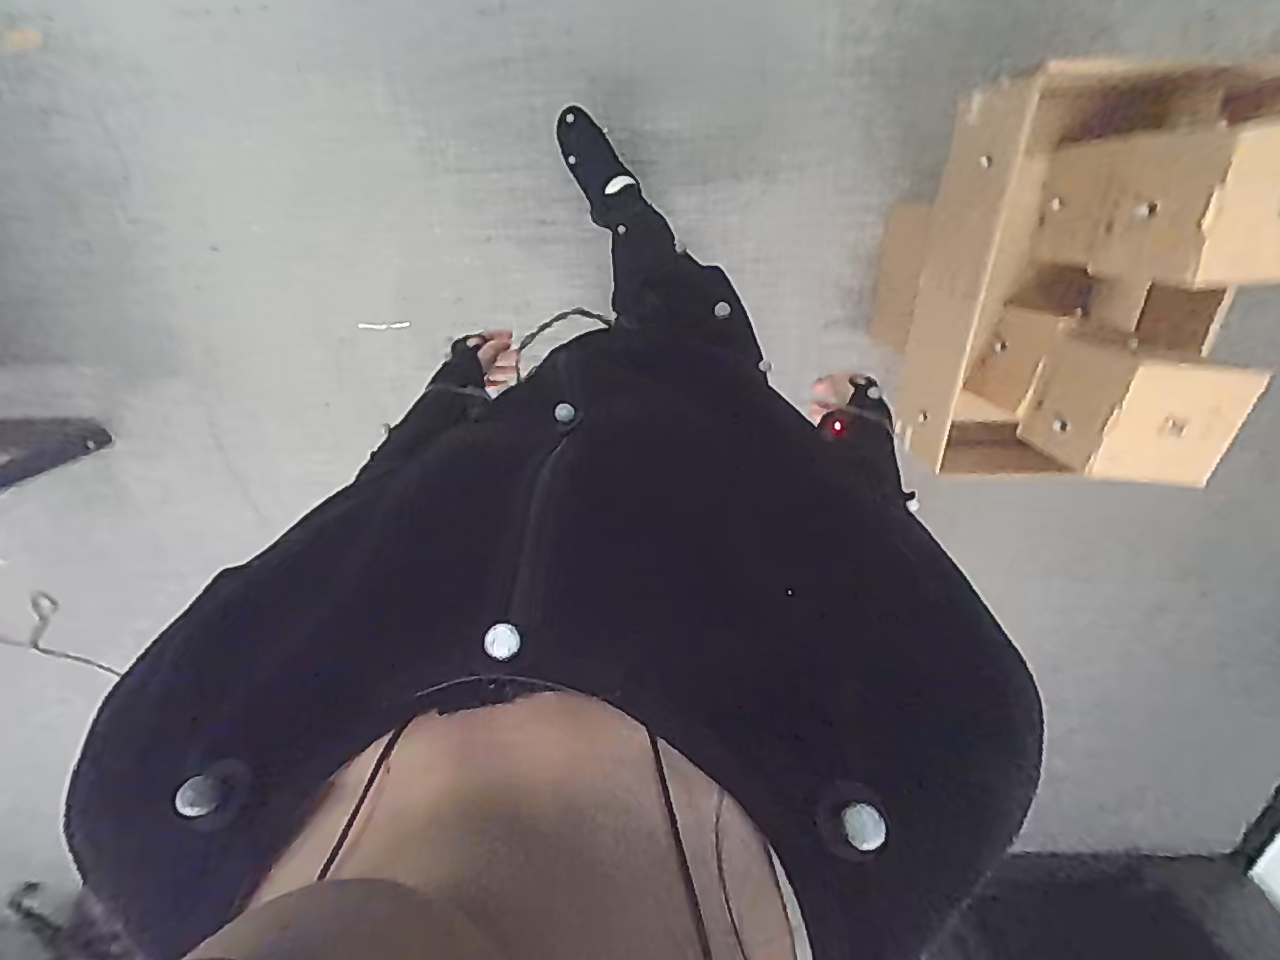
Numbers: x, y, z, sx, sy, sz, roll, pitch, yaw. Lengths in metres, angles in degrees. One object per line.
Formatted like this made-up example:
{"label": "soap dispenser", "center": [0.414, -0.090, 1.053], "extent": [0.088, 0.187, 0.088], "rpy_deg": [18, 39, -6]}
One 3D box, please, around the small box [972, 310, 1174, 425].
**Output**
{"label": "small box", "center": [0.728, -0.186, 0.934], "extent": [0.179, 0.176, 0.168], "rpy_deg": [10, 116, -3]}

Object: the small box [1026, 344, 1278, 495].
{"label": "small box", "center": [0.726, -0.097, 0.797], "extent": [0.179, 0.176, 0.168], "rpy_deg": [6, 117, -1]}

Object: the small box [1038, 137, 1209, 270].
{"label": "small box", "center": [0.761, -0.416, 0.818], "extent": [0.179, 0.176, 0.168], "rpy_deg": [-2, 116, 3]}

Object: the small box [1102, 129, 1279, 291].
{"label": "small box", "center": [0.743, -0.334, 0.675], "extent": [0.179, 0.176, 0.168], "rpy_deg": [-2, 117, 3]}
